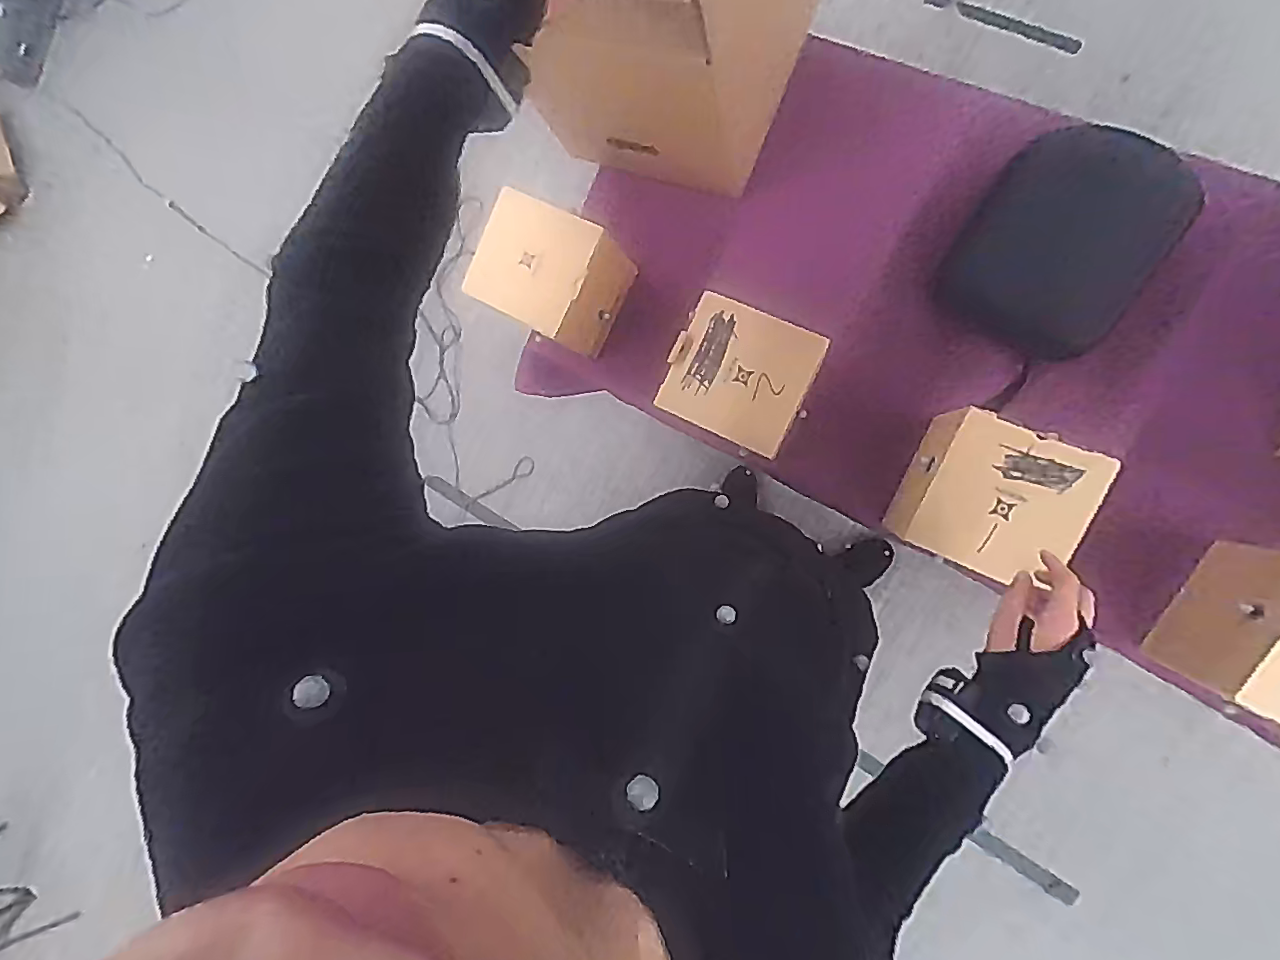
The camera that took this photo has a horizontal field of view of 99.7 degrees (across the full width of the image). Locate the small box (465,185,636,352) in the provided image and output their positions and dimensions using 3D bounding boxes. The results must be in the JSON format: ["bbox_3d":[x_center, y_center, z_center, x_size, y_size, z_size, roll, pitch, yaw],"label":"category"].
[{"bbox_3d":[-0.131,-0.317,0.848,0.179,0.176,0.168,29,99,12],"label":"small box"}]

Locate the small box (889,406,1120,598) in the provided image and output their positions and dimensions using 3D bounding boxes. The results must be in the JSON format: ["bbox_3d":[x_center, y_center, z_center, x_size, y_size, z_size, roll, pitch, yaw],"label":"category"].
[{"bbox_3d":[0.445,0.020,0.699,0.168,0.176,0.179,25,99,14],"label":"small box"}]

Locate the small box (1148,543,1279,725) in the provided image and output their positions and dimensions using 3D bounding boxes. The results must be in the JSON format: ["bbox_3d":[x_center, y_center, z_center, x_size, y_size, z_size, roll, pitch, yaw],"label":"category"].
[{"bbox_3d":[0.753,0.189,0.617,0.168,0.176,0.179,30,99,14],"label":"small box"}]
